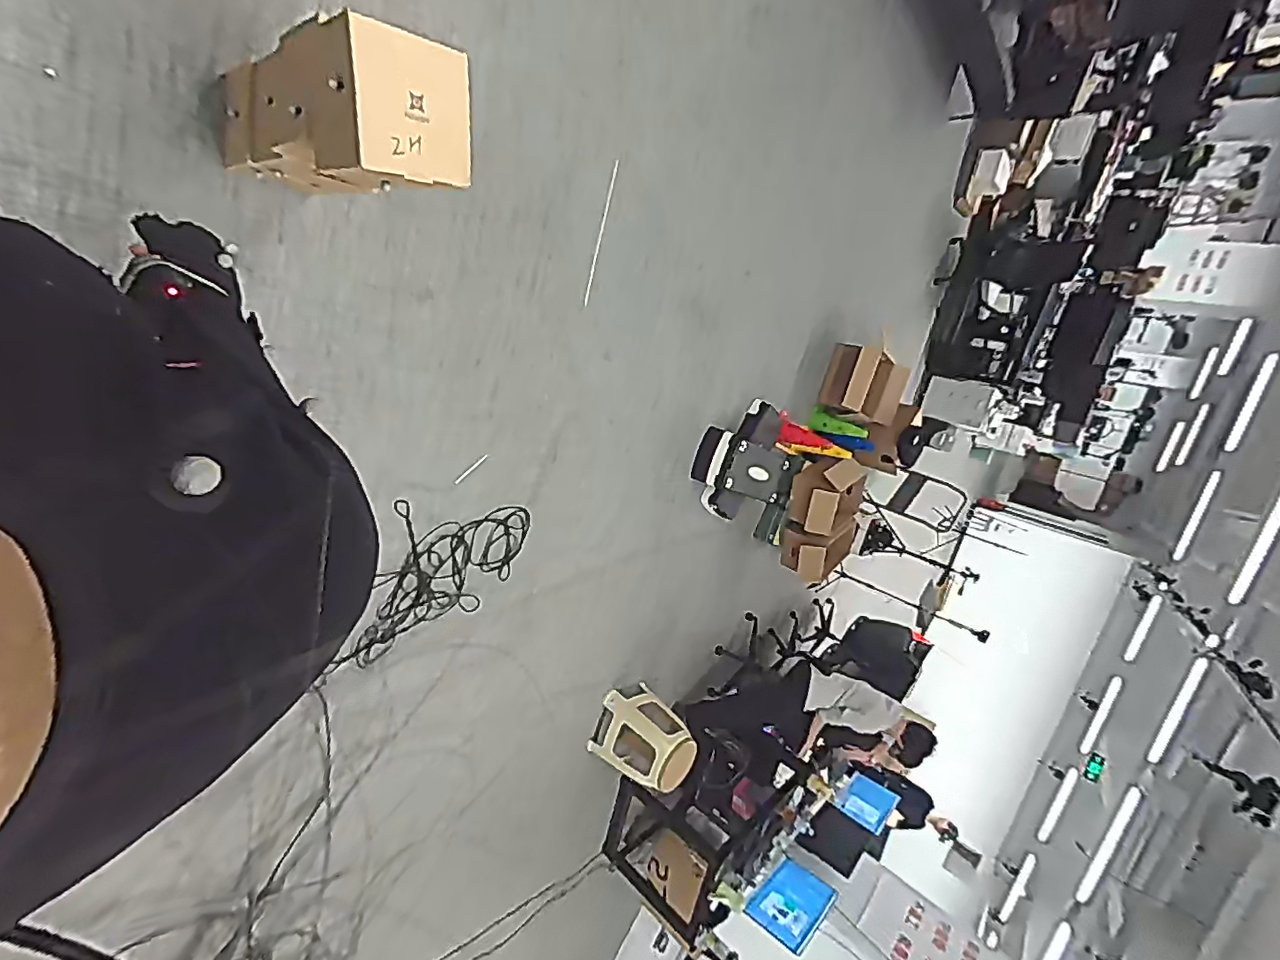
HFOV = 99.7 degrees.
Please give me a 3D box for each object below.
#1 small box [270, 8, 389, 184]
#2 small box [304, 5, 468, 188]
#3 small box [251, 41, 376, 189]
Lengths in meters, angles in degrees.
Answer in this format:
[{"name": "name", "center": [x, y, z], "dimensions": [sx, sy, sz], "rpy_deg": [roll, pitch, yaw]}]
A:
[{"name": "small box", "center": [-0.484, -0.612, 0.889], "dimensions": [0.168, 0.176, 0.179], "rpy_deg": [1, 108, -50]}, {"name": "small box", "center": [-0.370, -0.541, 0.793], "dimensions": [0.168, 0.176, 0.179], "rpy_deg": [-16, 122, -45]}, {"name": "small box", "center": [-0.596, -0.658, 0.998], "dimensions": [0.168, 0.176, 0.179], "rpy_deg": [-3, 110, -50]}]
